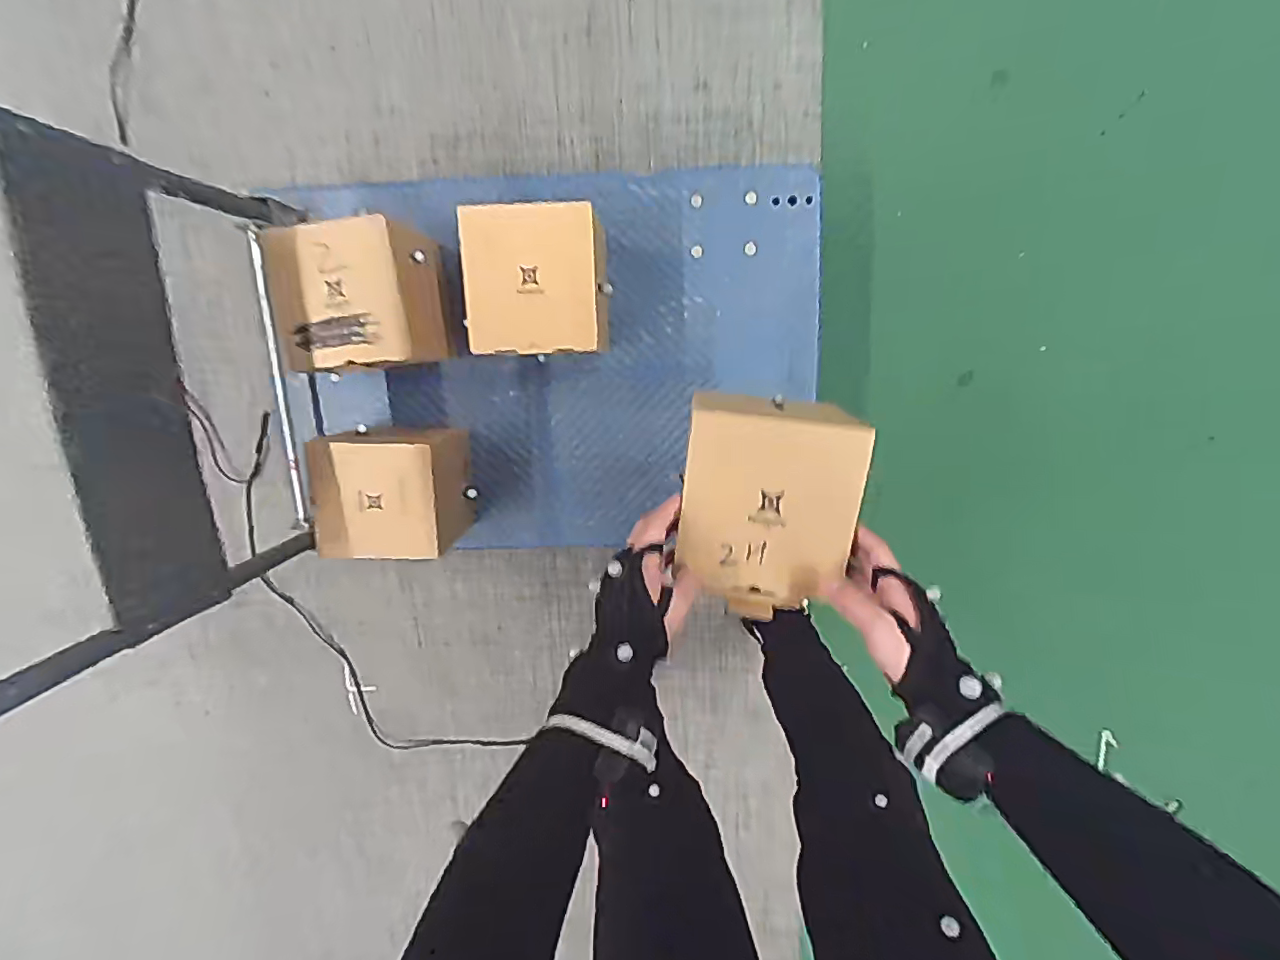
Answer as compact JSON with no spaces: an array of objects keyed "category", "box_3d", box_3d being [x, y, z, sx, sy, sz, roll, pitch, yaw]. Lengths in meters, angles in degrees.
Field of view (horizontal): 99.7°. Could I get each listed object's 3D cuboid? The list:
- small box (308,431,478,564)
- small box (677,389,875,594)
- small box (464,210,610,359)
[{"category":"small box","box_3d":[-0.359,0.019,0.817,0.179,0.176,0.168,1,103,1]},{"category":"small box","box_3d":[0.133,0.000,0.595,0.168,0.176,0.179,7,107,5]},{"category":"small box","box_3d":[-0.131,-0.259,0.751,0.168,0.176,0.179,-1,104,2]}]
